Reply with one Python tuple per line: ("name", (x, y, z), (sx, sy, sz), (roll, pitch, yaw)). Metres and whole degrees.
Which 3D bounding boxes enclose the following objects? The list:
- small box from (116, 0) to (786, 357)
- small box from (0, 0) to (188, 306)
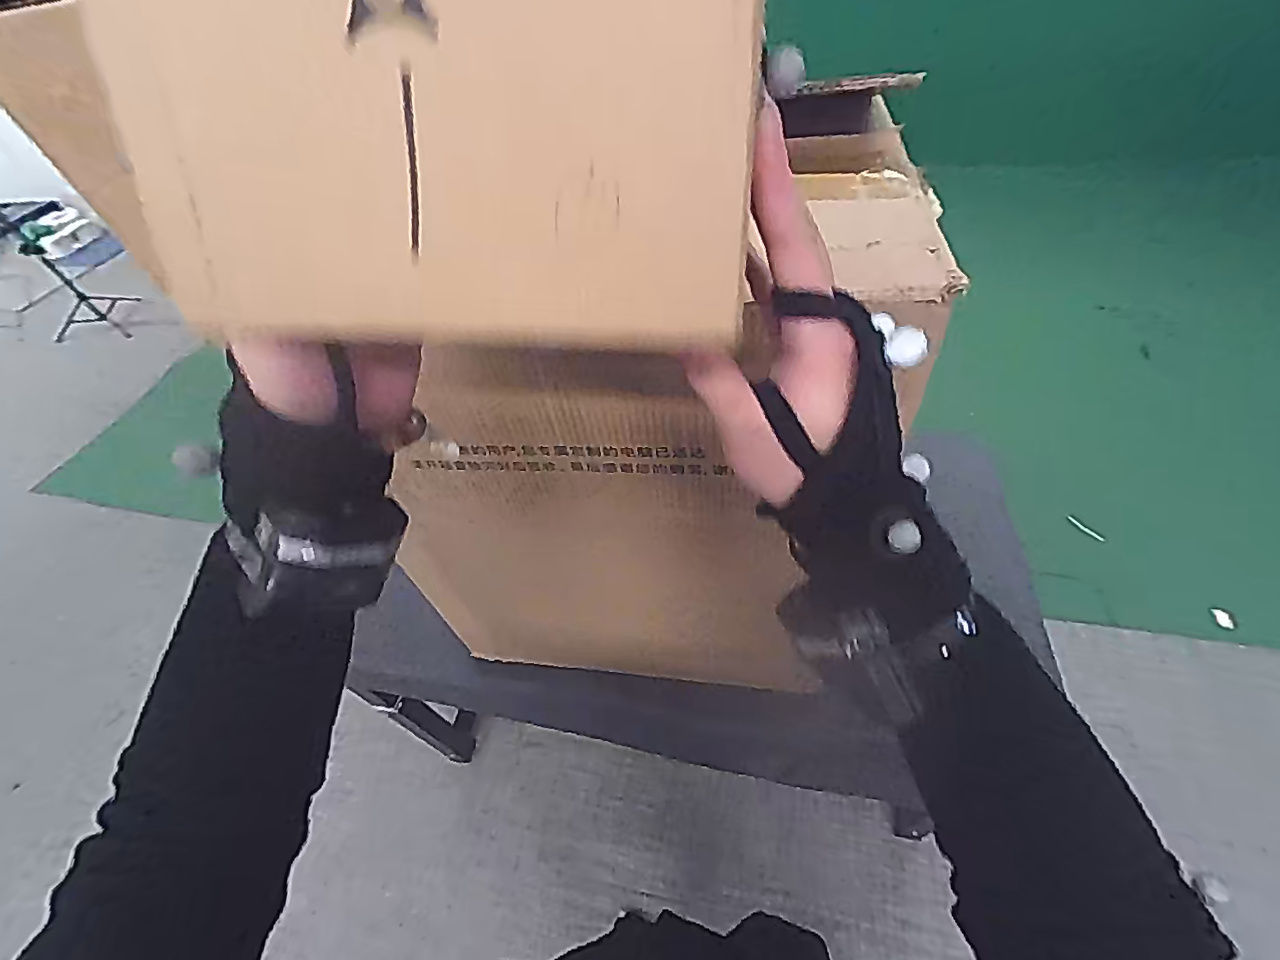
("small box", (-0.037, -0.144, 0.199), (0.168, 0.179, 0.176), (5, 19, 9))
("small box", (-0.253, -0.230, 0.369), (0.179, 0.176, 0.168), (2, 51, 12))
